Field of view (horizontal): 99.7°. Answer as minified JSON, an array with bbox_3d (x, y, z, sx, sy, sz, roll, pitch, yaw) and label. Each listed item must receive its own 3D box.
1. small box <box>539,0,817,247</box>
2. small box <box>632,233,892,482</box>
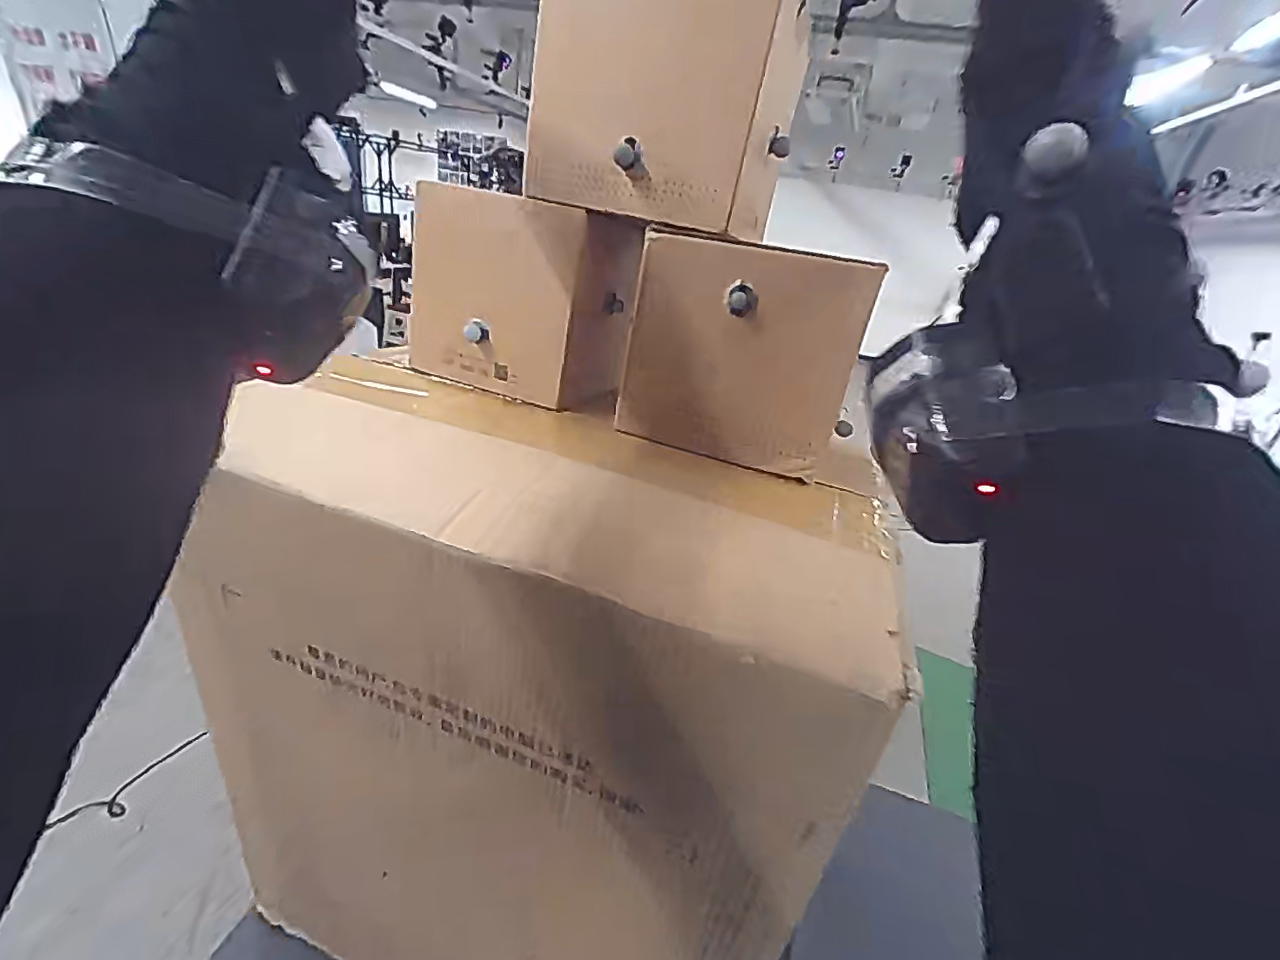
[{"bbox_3d":[0.035,-0.296,0.463,0.179,0.176,0.168,18,22,15],"label":"small box"},{"bbox_3d":[0.106,-0.113,0.493,0.179,0.176,0.168,17,24,14],"label":"small box"}]
